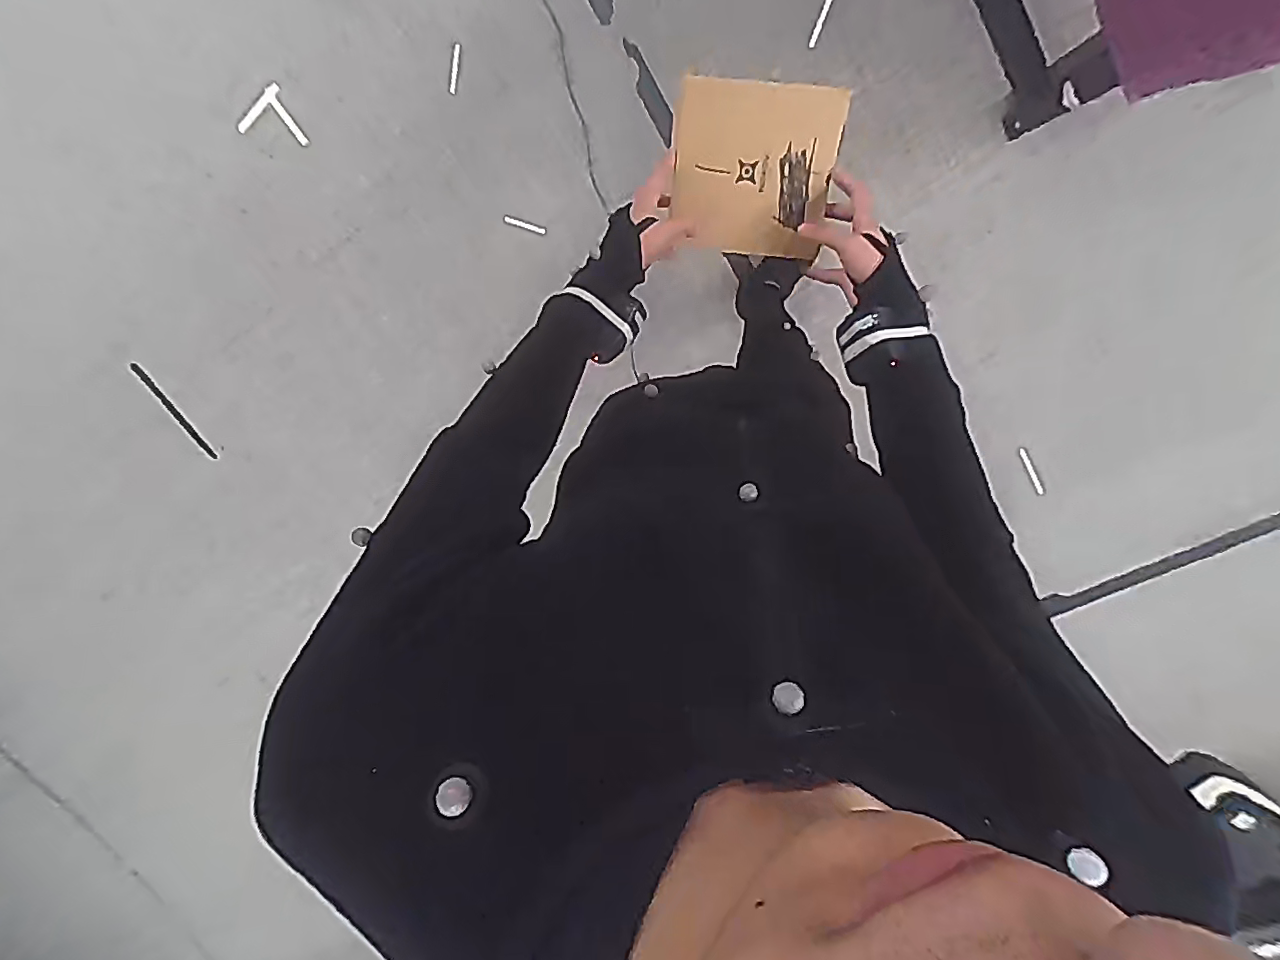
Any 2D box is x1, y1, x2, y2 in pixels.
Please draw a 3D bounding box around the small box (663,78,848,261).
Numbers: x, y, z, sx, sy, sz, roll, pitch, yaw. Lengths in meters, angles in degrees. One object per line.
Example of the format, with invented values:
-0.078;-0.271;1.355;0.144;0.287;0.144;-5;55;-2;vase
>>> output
0.124;-0.376;0.661;0.179;0.176;0.168;4;121;-1;small box
